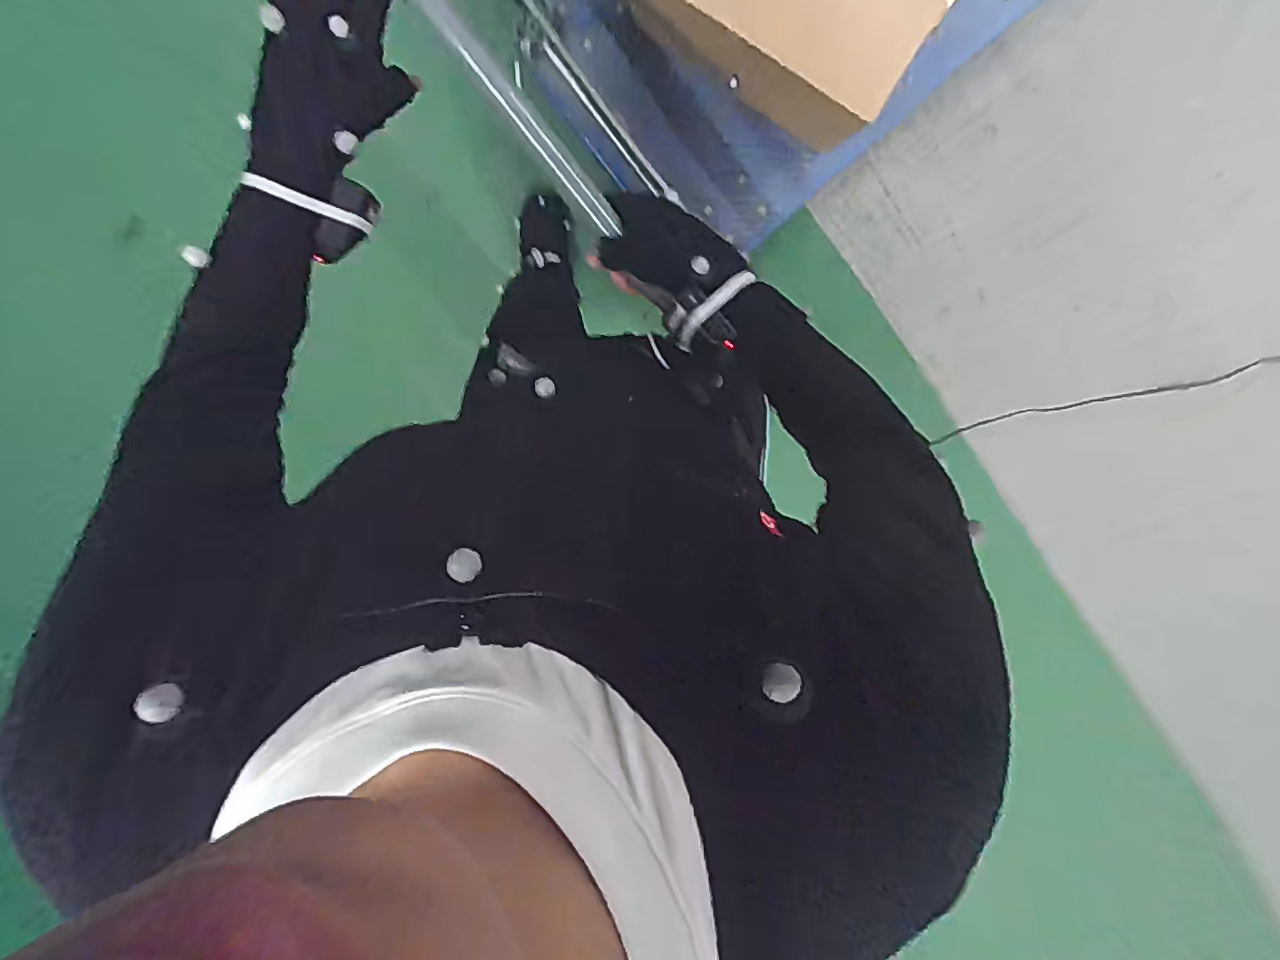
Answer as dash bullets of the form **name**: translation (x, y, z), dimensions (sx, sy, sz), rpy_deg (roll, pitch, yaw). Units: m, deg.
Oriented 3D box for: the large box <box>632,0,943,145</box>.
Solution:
- **large box**: translation (0.229, -0.765, 0.792), dimensions (0.408, 0.320, 0.320), rpy_deg (28, 113, -7)
